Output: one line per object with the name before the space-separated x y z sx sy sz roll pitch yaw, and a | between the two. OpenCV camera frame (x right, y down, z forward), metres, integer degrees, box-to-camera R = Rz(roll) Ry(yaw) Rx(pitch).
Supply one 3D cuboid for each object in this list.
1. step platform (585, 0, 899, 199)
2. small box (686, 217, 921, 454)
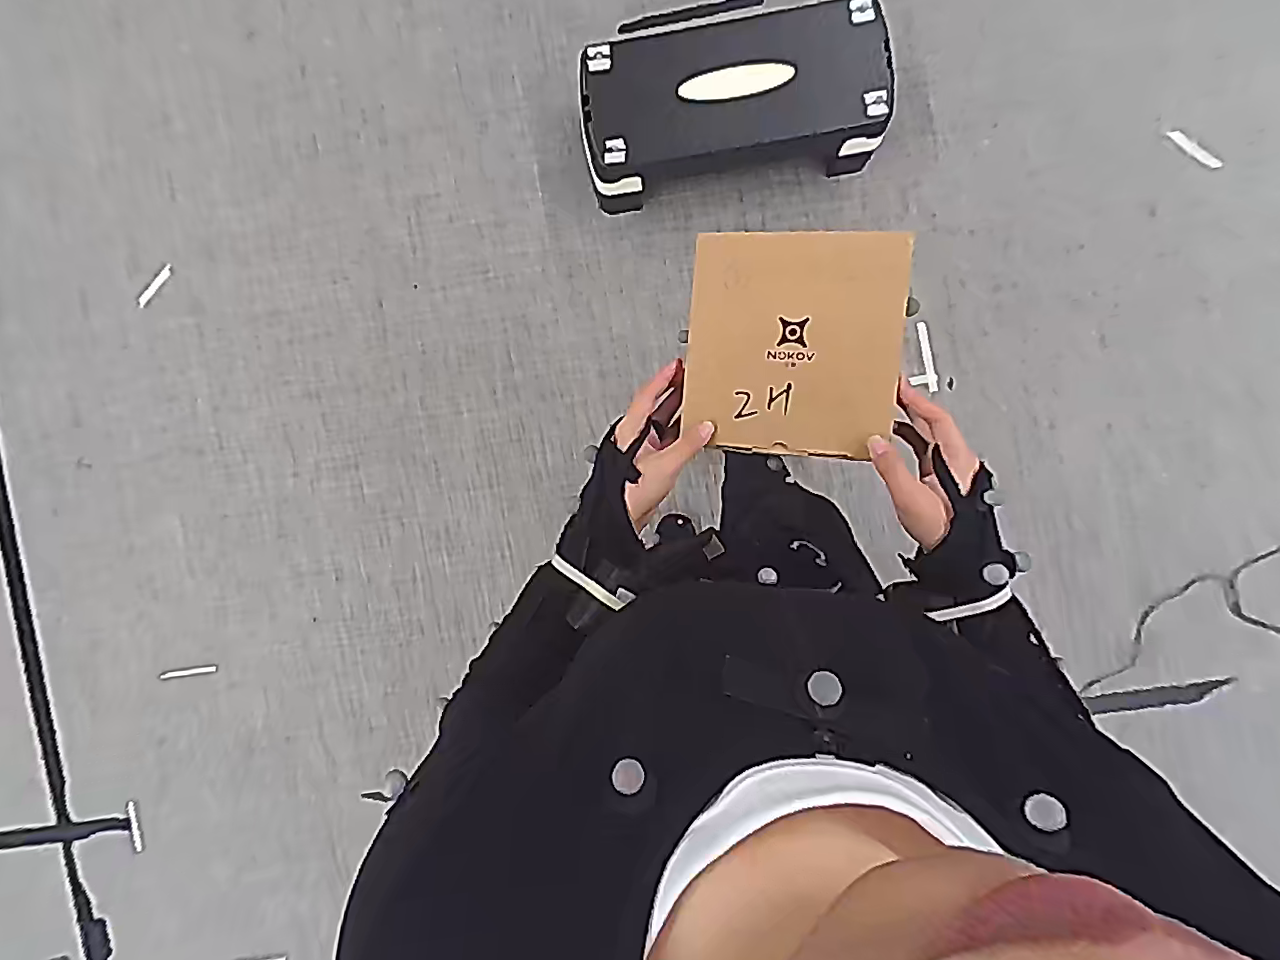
step platform | 0.220 -0.877 1.234 0.684 0.204 0.286 -9 91 3
small box | 0.143 -0.118 0.500 0.168 0.176 0.179 5 93 15
